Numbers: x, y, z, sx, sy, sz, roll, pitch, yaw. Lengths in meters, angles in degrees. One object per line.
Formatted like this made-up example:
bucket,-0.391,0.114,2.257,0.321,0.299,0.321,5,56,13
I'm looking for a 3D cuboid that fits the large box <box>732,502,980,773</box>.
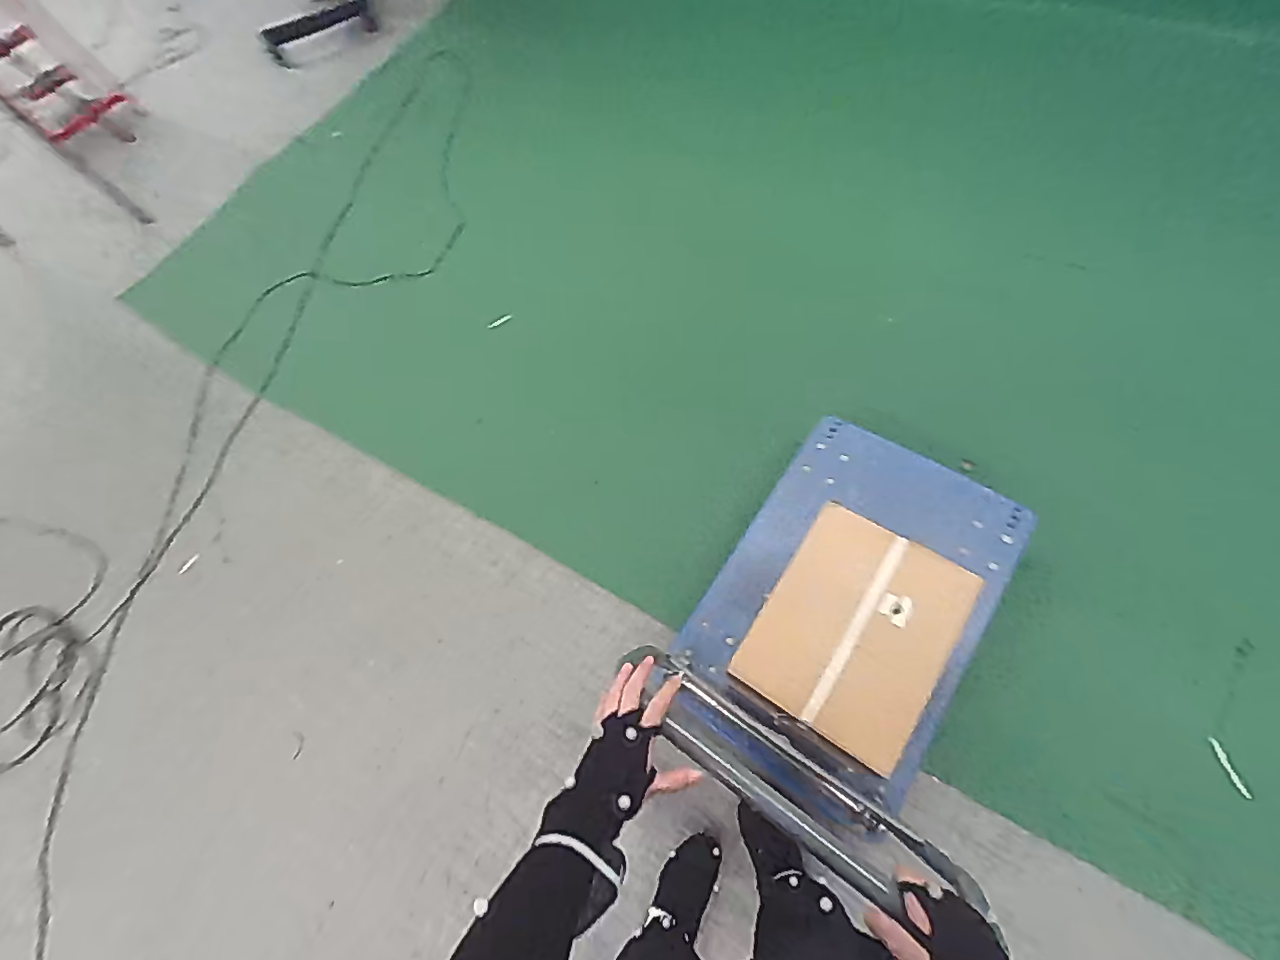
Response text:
large box,0.423,0.330,1.138,0.320,0.320,0.408,31,74,20
